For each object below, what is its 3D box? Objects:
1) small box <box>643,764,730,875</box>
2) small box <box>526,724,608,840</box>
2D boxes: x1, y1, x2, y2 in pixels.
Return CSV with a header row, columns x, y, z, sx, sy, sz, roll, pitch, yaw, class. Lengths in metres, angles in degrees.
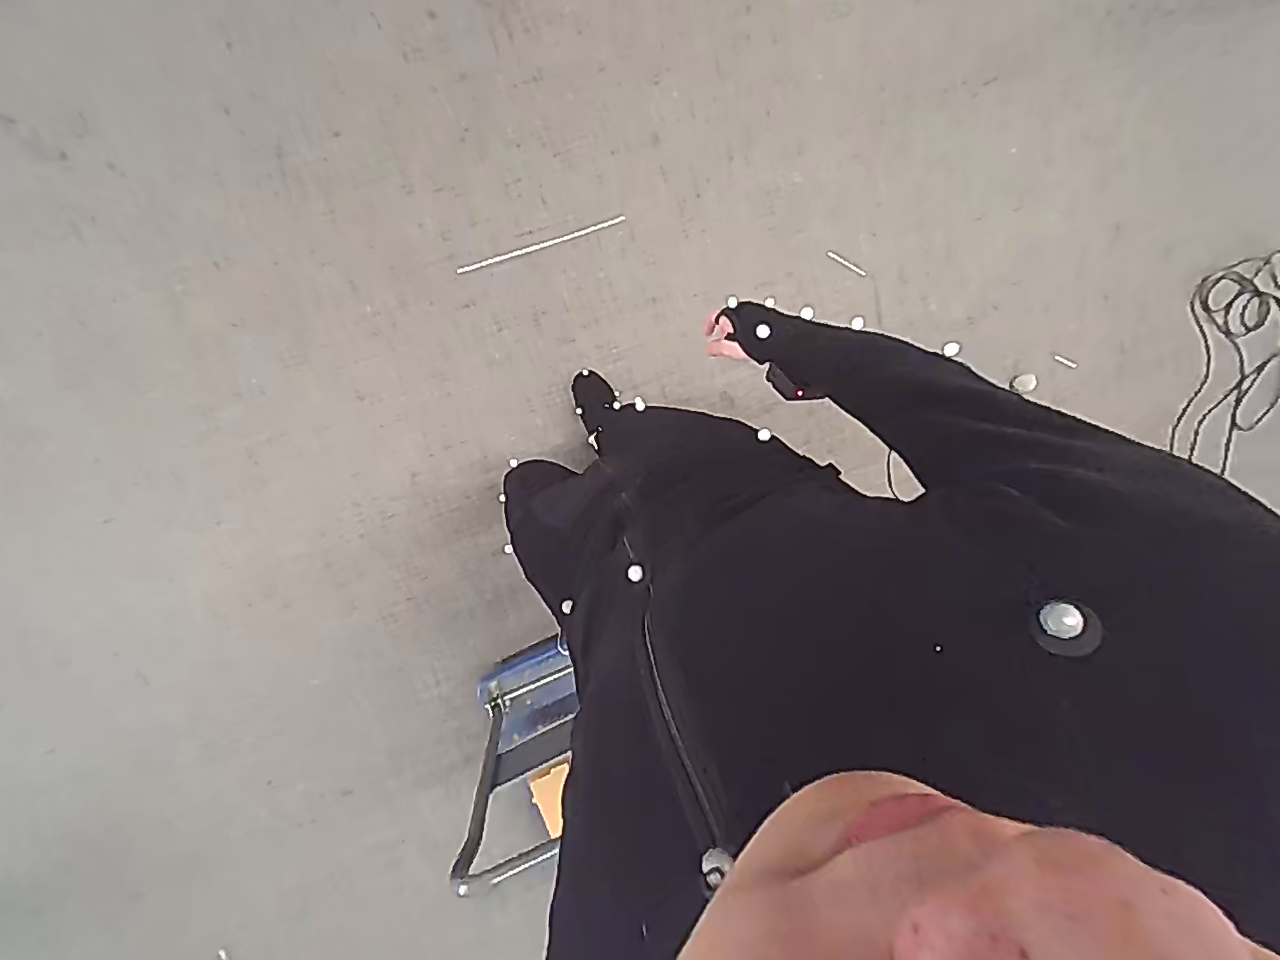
x,y,z,sx,sy,sz,roll,pitch,yaw,class
0.121,0.923,1.495,0.168,0.176,0.179,-25,101,-6,small box
-0.192,0.784,1.420,0.168,0.176,0.179,-19,100,-8,small box
